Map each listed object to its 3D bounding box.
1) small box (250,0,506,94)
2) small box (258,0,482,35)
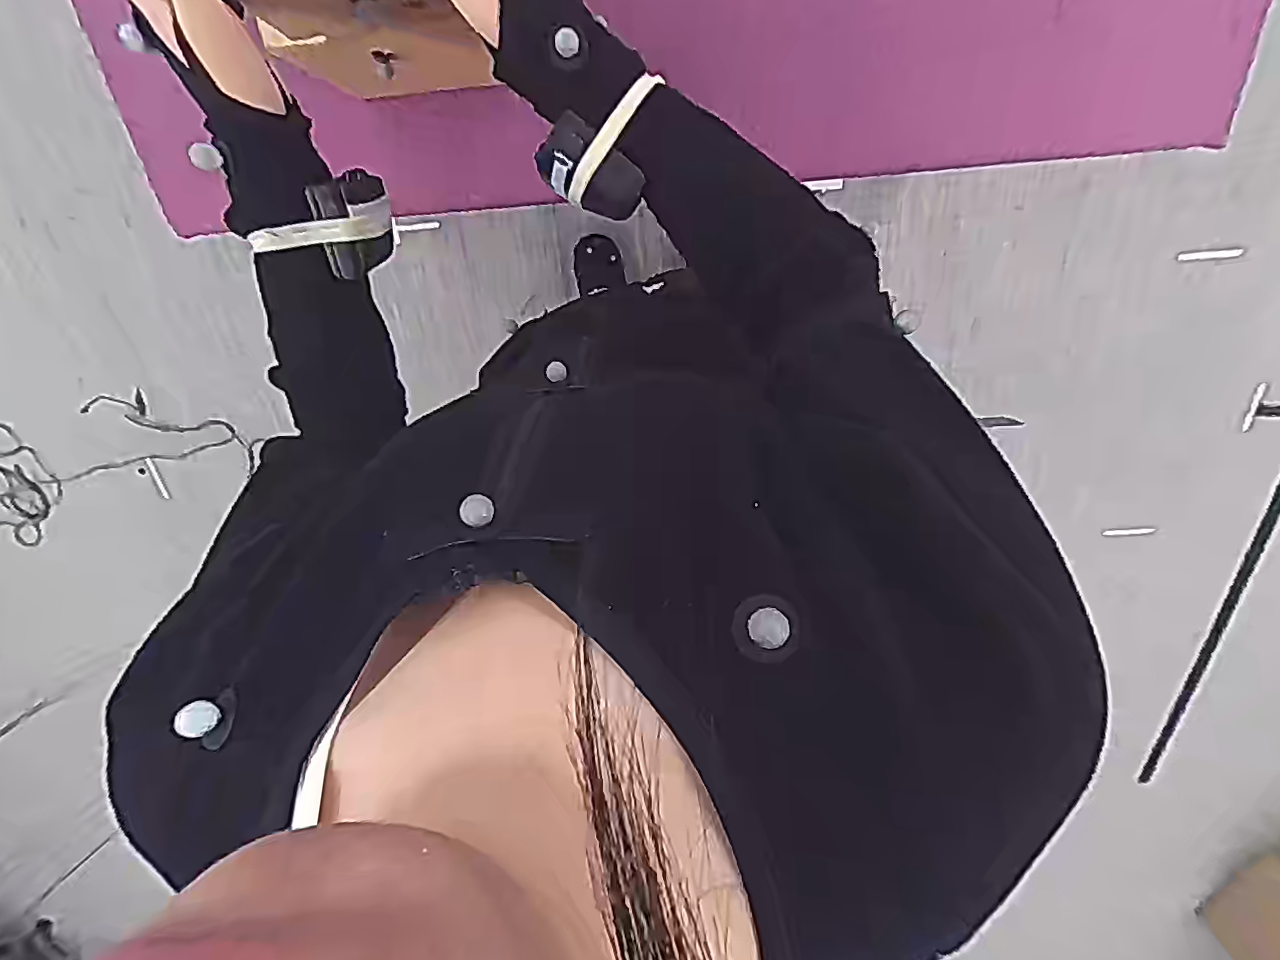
[{"bbox_3d":[-0.225,-0.460,0.475,0.179,0.176,0.168,-4,115,2],"label":"small box"},{"bbox_3d":[-0.195,-0.398,0.304,0.168,0.176,0.179,-11,115,0],"label":"small box"}]
